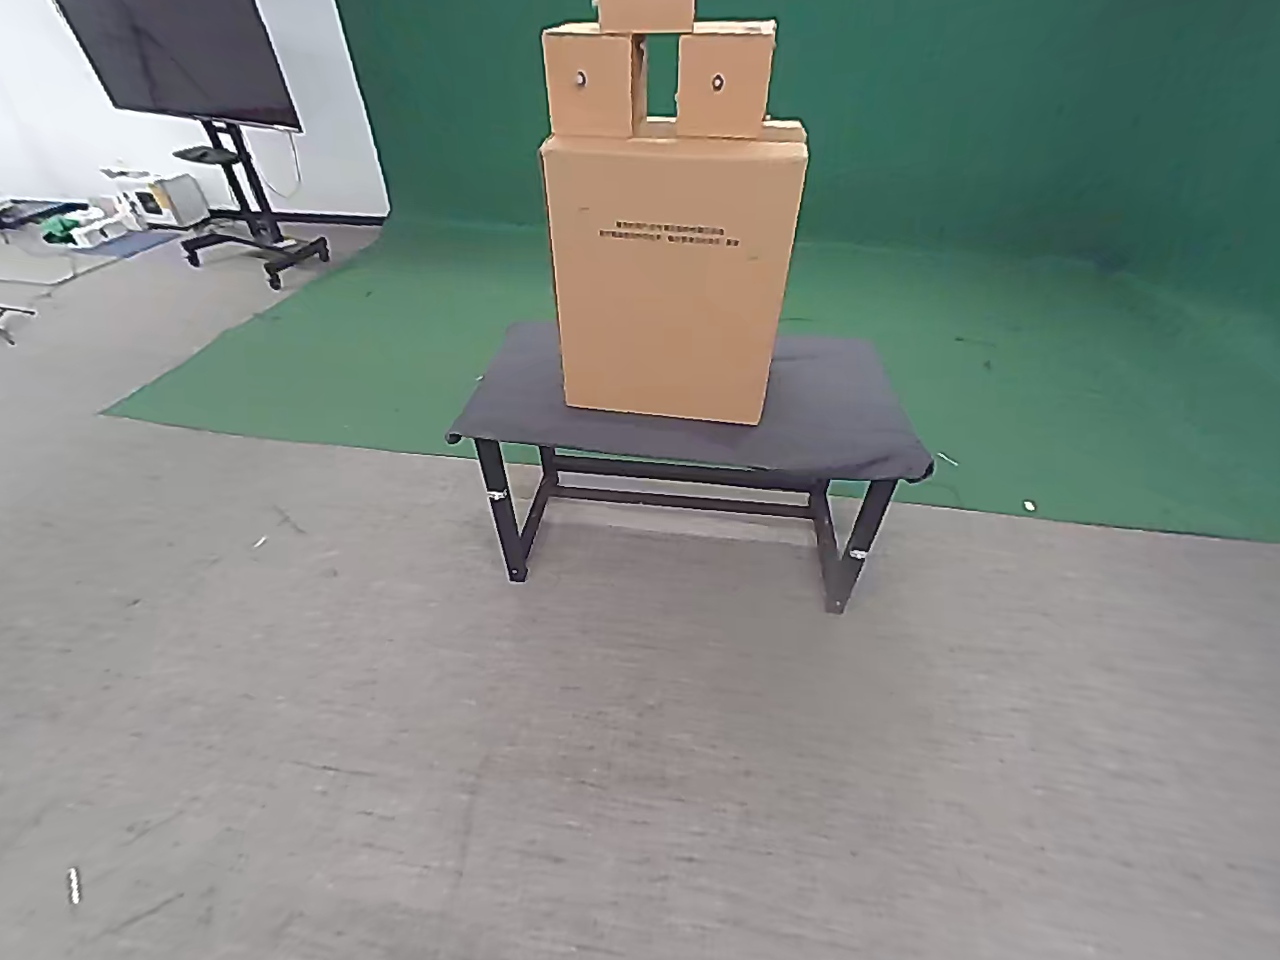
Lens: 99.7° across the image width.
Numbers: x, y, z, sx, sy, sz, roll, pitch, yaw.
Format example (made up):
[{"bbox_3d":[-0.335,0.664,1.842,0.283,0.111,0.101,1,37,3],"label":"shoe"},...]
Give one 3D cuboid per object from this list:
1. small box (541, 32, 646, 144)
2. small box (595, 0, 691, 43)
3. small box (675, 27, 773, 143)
[{"bbox_3d":[-0.088,-0.816,1.127,0.179,0.176,0.168,7,46,8],"label":"small box"},{"bbox_3d":[0.007,-0.926,1.004,0.179,0.176,0.168,-1,43,2],"label":"small box"},{"bbox_3d":[0.169,-0.806,1.107,0.179,0.176,0.168,6,46,9],"label":"small box"}]
